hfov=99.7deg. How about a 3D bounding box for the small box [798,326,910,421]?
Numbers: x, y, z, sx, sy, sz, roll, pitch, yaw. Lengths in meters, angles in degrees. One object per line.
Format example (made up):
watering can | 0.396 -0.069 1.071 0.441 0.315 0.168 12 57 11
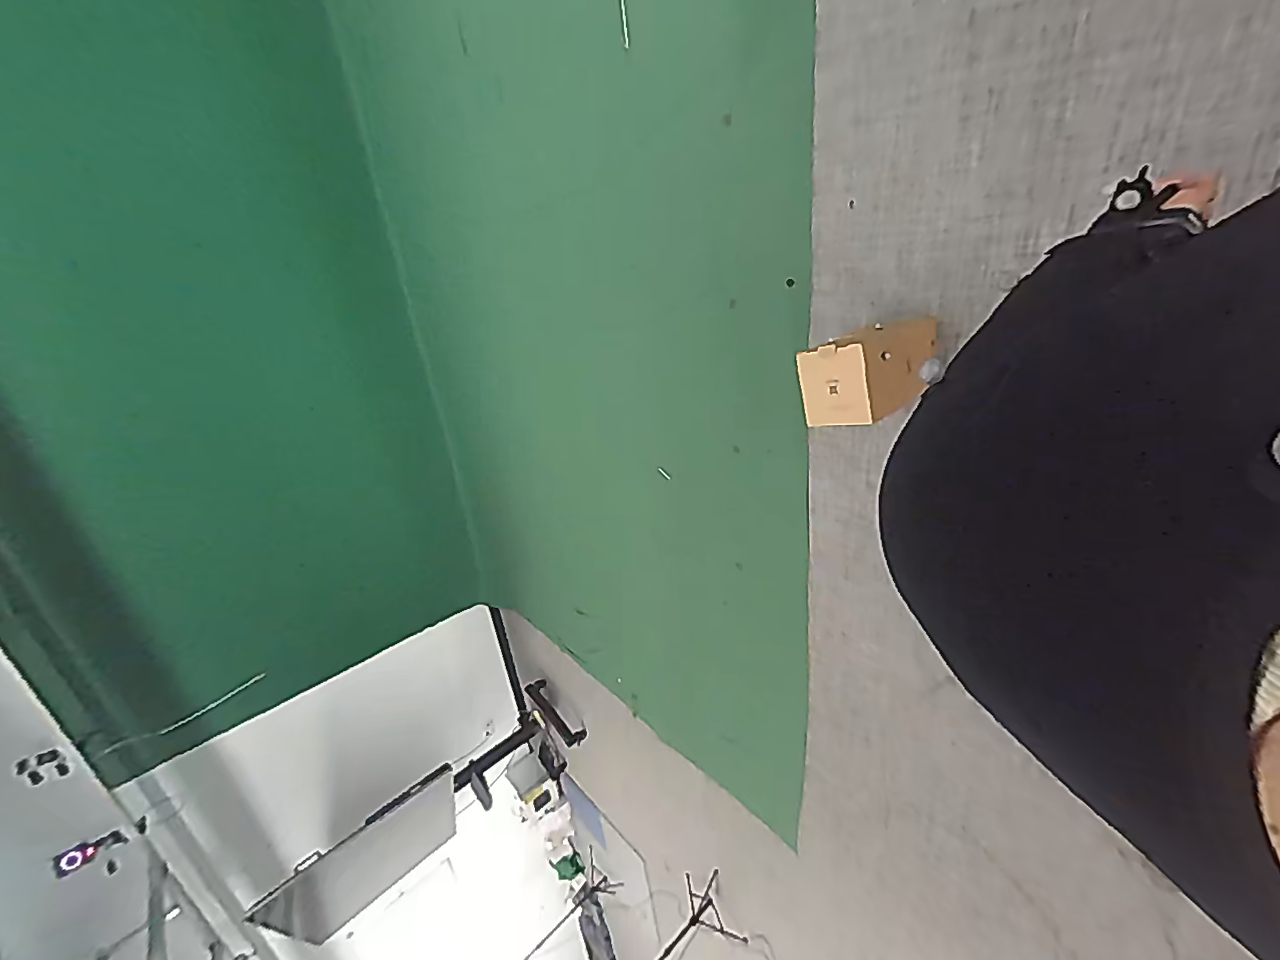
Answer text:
small box | 0.488 -0.244 1.228 0.168 0.176 0.179 5 114 53

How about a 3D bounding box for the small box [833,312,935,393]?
small box | 0.603 -0.307 1.324 0.179 0.176 0.168 8 116 51
